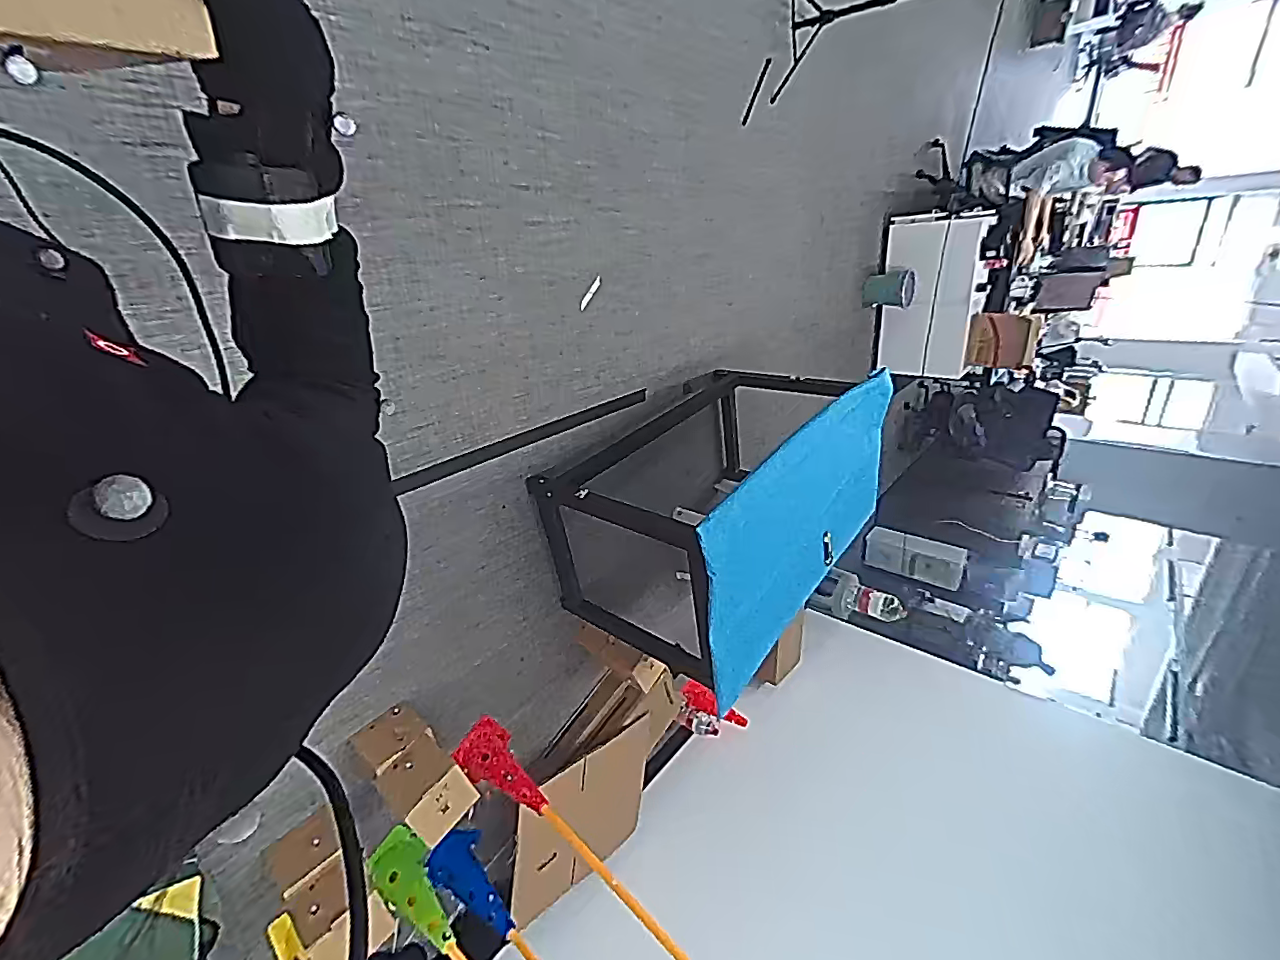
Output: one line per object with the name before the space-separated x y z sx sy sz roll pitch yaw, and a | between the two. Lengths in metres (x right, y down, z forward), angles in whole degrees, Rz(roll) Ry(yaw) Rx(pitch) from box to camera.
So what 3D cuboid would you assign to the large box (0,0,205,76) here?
large box | -0.454 -0.326 0.151 0.408 0.320 0.320 -28 134 -41
